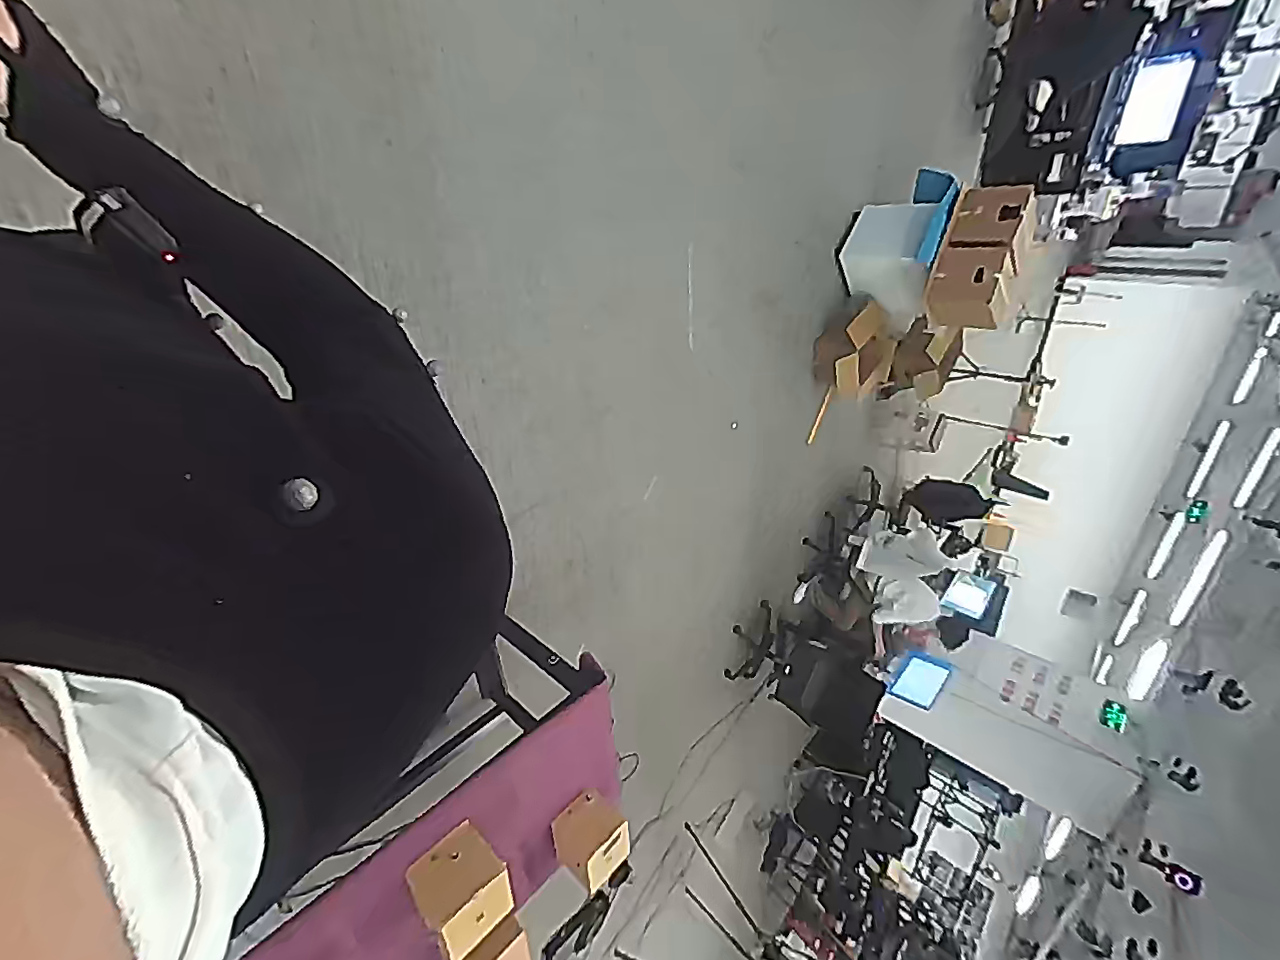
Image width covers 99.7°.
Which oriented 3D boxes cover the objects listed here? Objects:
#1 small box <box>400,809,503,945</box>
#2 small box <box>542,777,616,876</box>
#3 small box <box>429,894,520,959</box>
[{"bbox_3d":[-0.459,0.958,1.321,0.168,0.176,0.179,-27,128,-41],"label":"small box"},{"bbox_3d":[-0.193,1.081,1.706,0.168,0.176,0.179,-27,127,-40],"label":"small box"},{"bbox_3d":[-0.450,1.227,1.471,0.168,0.176,0.179,-26,126,-42],"label":"small box"}]
